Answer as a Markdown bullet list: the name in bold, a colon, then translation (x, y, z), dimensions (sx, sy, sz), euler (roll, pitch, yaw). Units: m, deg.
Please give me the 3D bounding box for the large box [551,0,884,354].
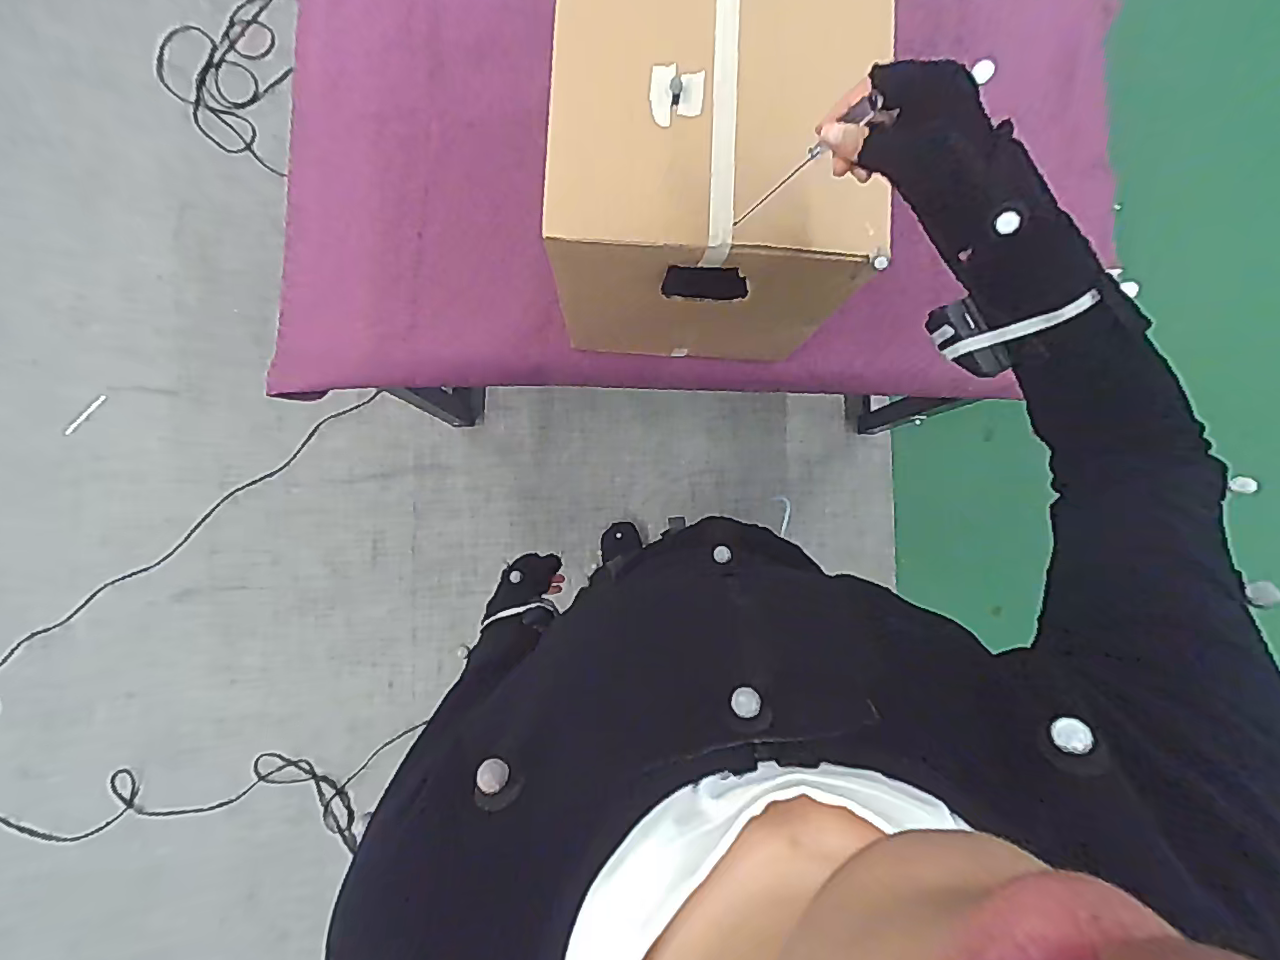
- **large box**: translation (0.070, -0.400, 0.655), dimensions (0.320, 0.320, 0.408), euler (3, 87, -2)
